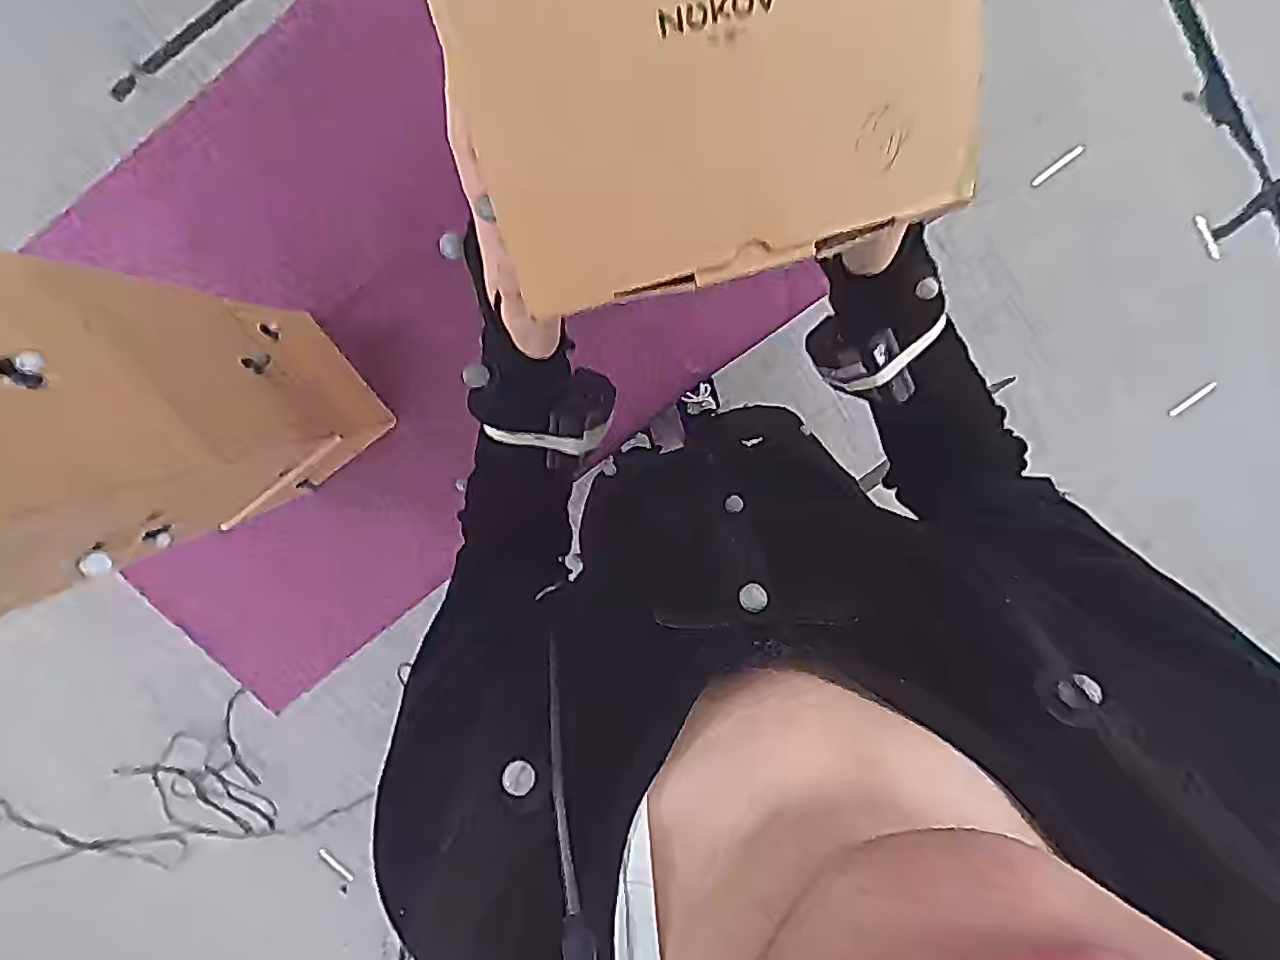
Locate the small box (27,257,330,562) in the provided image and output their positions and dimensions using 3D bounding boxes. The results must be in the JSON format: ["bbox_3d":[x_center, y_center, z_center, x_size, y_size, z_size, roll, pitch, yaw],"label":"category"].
[{"bbox_3d":[-0.420,-0.052,0.463,0.168,0.176,0.179,-37,101,4],"label":"small box"}]

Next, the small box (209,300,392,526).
[{"bbox_3d":[-0.428,-0.081,0.624,0.168,0.176,0.179,-37,102,4],"label":"small box"}]

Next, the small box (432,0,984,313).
[{"bbox_3d":[0.011,-0.187,0.227,0.168,0.176,0.179,-15,114,-1],"label":"small box"}]
